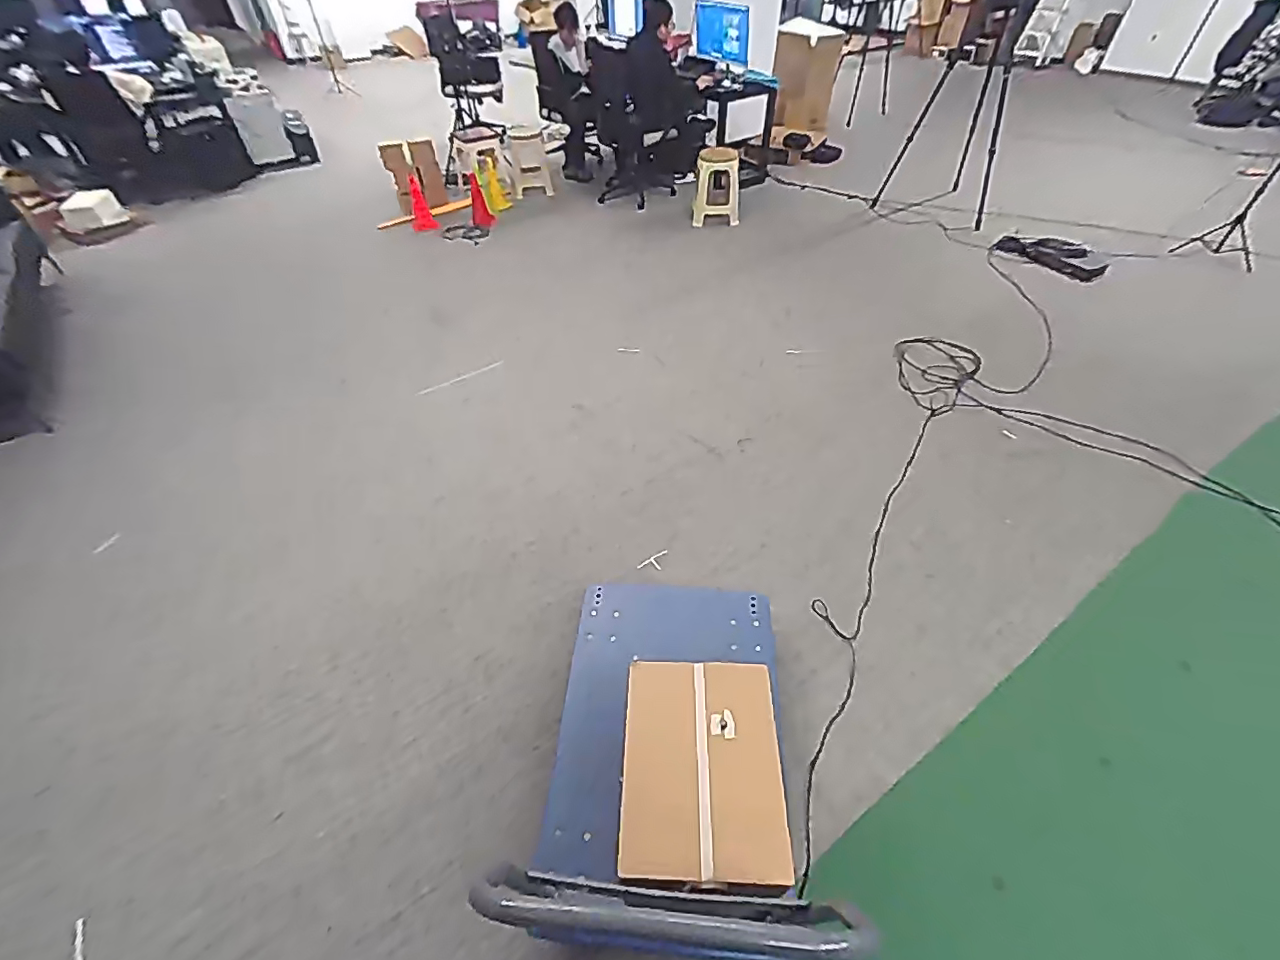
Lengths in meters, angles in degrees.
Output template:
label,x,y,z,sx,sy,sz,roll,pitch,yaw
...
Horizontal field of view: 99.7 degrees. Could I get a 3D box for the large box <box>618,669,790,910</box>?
label,x,y,z,sx,sy,sz,roll,pitch,yaw
large box,0.123,0.684,1.204,0.320,0.320,0.408,2,45,2
